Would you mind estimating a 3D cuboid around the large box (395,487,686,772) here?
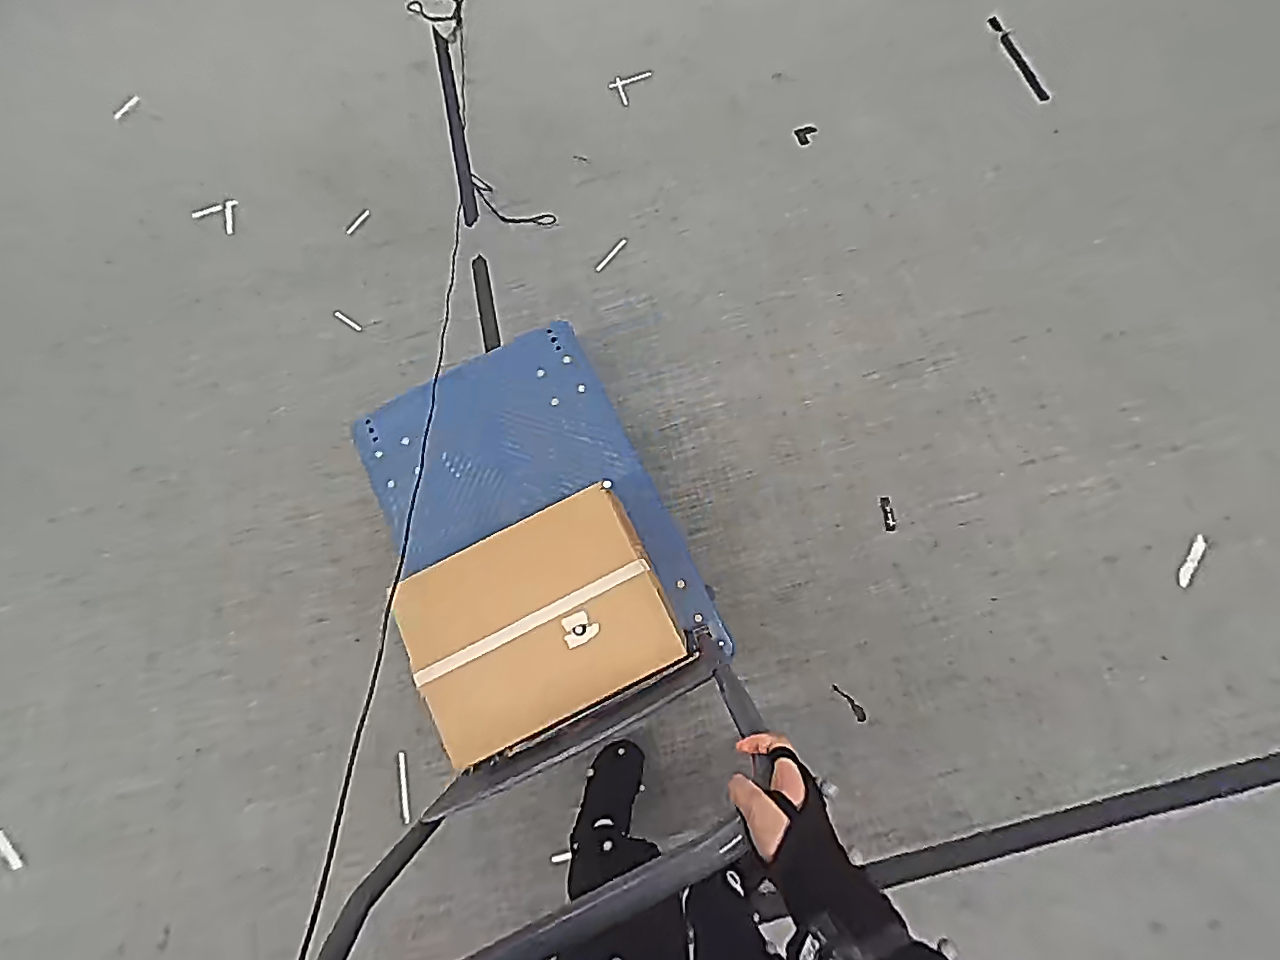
[{"bbox_3d":[-0.160,0.265,1.022,0.408,0.320,0.320,-27,79,-3],"label":"large box"}]
